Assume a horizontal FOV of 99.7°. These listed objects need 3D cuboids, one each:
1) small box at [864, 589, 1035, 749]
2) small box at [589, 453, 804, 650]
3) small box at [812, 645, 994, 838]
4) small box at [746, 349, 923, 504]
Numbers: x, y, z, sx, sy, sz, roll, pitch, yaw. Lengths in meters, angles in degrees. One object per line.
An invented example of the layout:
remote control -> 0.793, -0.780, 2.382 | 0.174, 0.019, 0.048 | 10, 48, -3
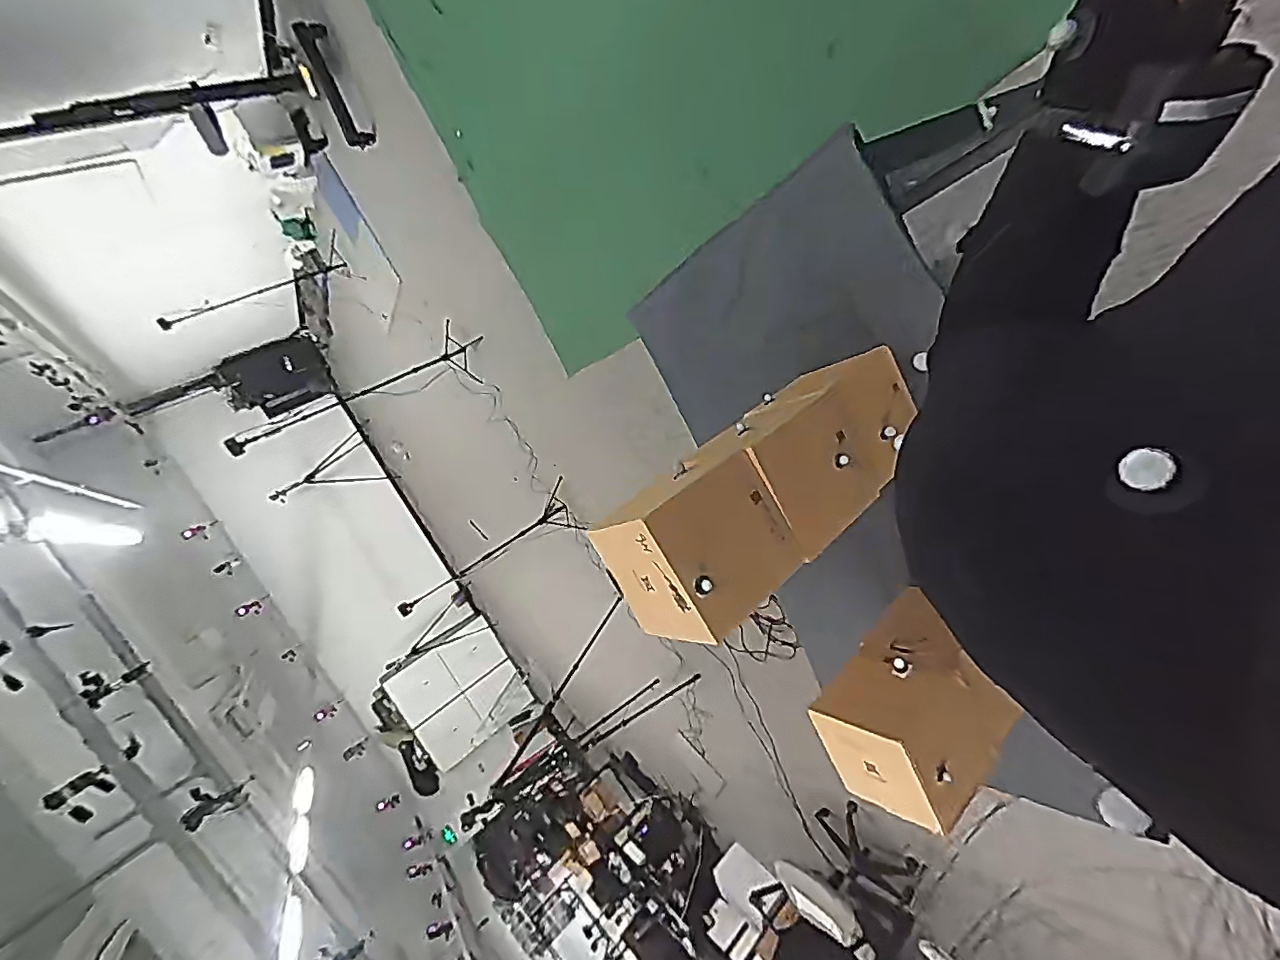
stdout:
small box -> 0.521, 0.303, 0.912 | 0.168, 0.176, 0.179 | -11, 111, 60
small box -> 0.069, 0.086, 0.684 | 0.168, 0.176, 0.179 | 59, 152, -7
small box -> 0.407, 0.386, 0.832 | 0.168, 0.176, 0.179 | -10, 110, 58
small box -> 0.306, -0.080, 0.840 | 0.168, 0.176, 0.179 | 60, 152, -9
